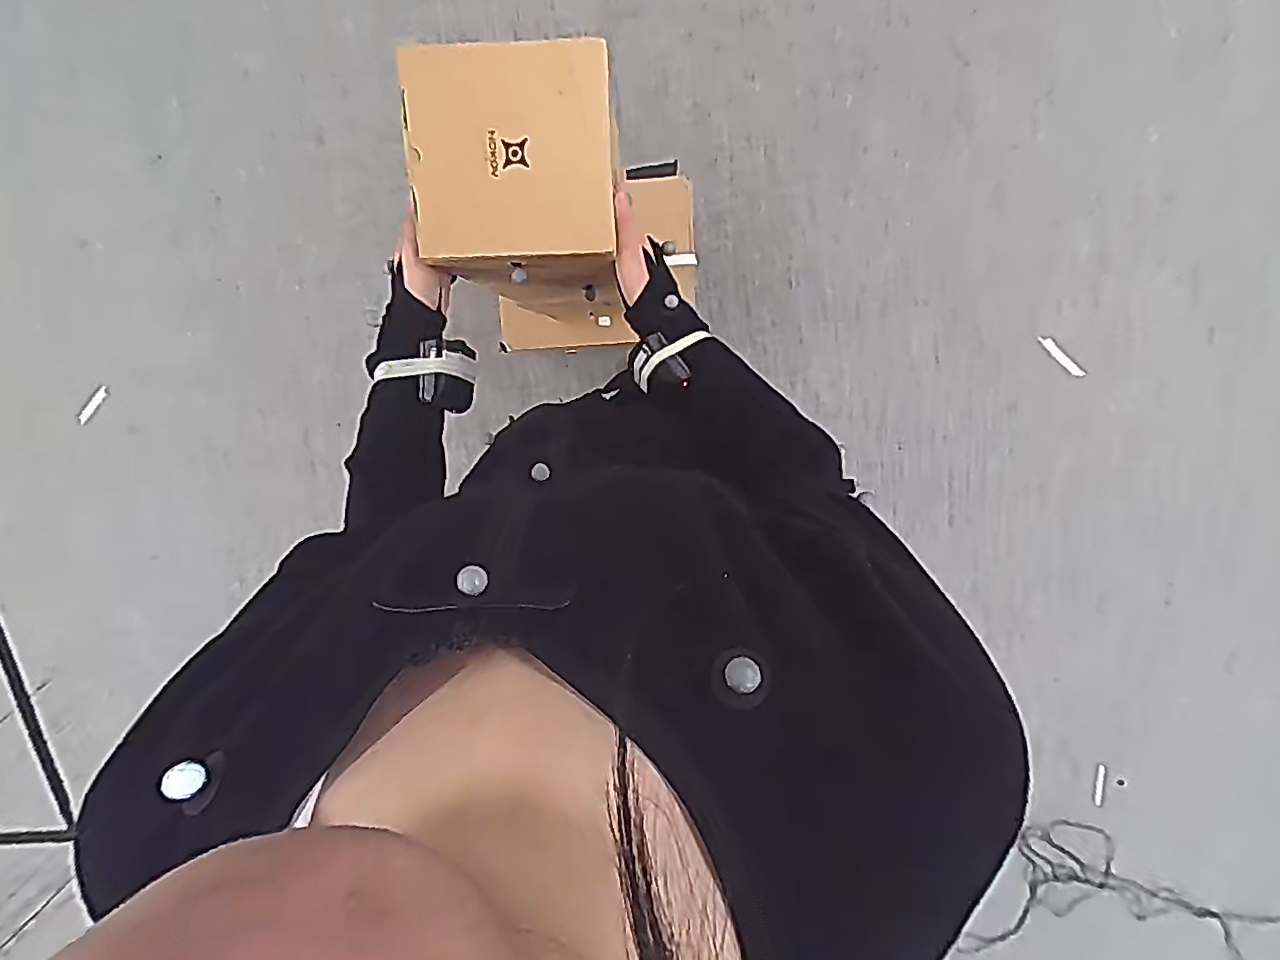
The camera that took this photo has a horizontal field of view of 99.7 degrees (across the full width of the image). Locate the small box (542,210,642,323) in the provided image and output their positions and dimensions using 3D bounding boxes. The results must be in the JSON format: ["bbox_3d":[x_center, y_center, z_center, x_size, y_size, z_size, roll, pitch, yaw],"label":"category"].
[{"bbox_3d":[-0.091,-0.393,1.023,0.179,0.176,0.168,-6,103,2],"label":"small box"}]

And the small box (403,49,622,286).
[{"bbox_3d":[-0.108,-0.292,0.542,0.179,0.176,0.168,-2,103,2],"label":"small box"}]

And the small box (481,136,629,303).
[{"bbox_3d":[-0.104,-0.325,0.702,0.179,0.176,0.168,-2,102,2],"label":"small box"}]
